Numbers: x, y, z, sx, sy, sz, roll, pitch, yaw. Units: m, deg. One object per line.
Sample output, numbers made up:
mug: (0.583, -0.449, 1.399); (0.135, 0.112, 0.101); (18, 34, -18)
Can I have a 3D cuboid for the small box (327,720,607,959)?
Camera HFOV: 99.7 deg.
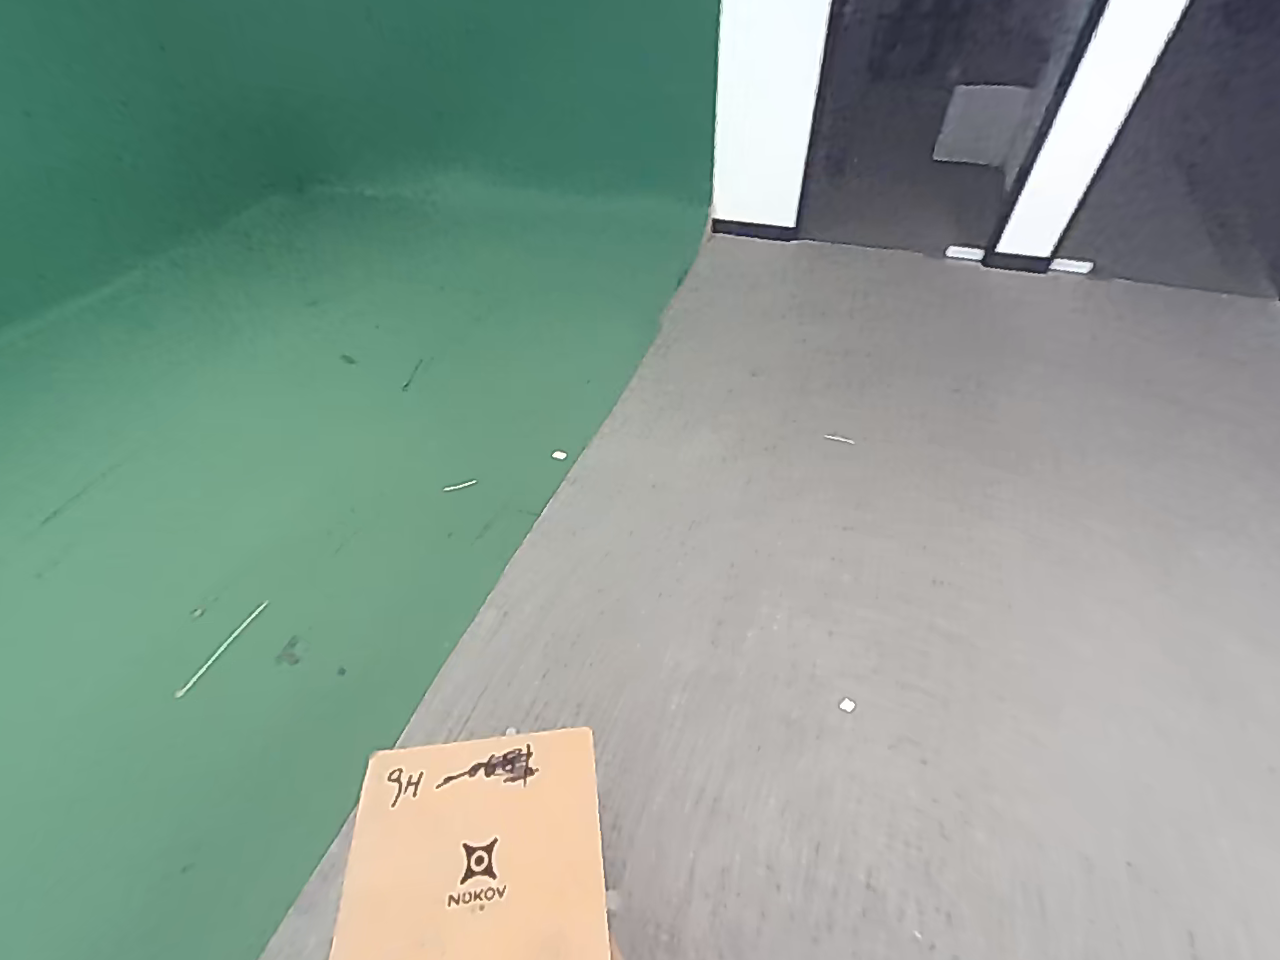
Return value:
small box: (-0.111, 0.306, 0.408); (0.168, 0.176, 0.179); (-3, 47, -8)
